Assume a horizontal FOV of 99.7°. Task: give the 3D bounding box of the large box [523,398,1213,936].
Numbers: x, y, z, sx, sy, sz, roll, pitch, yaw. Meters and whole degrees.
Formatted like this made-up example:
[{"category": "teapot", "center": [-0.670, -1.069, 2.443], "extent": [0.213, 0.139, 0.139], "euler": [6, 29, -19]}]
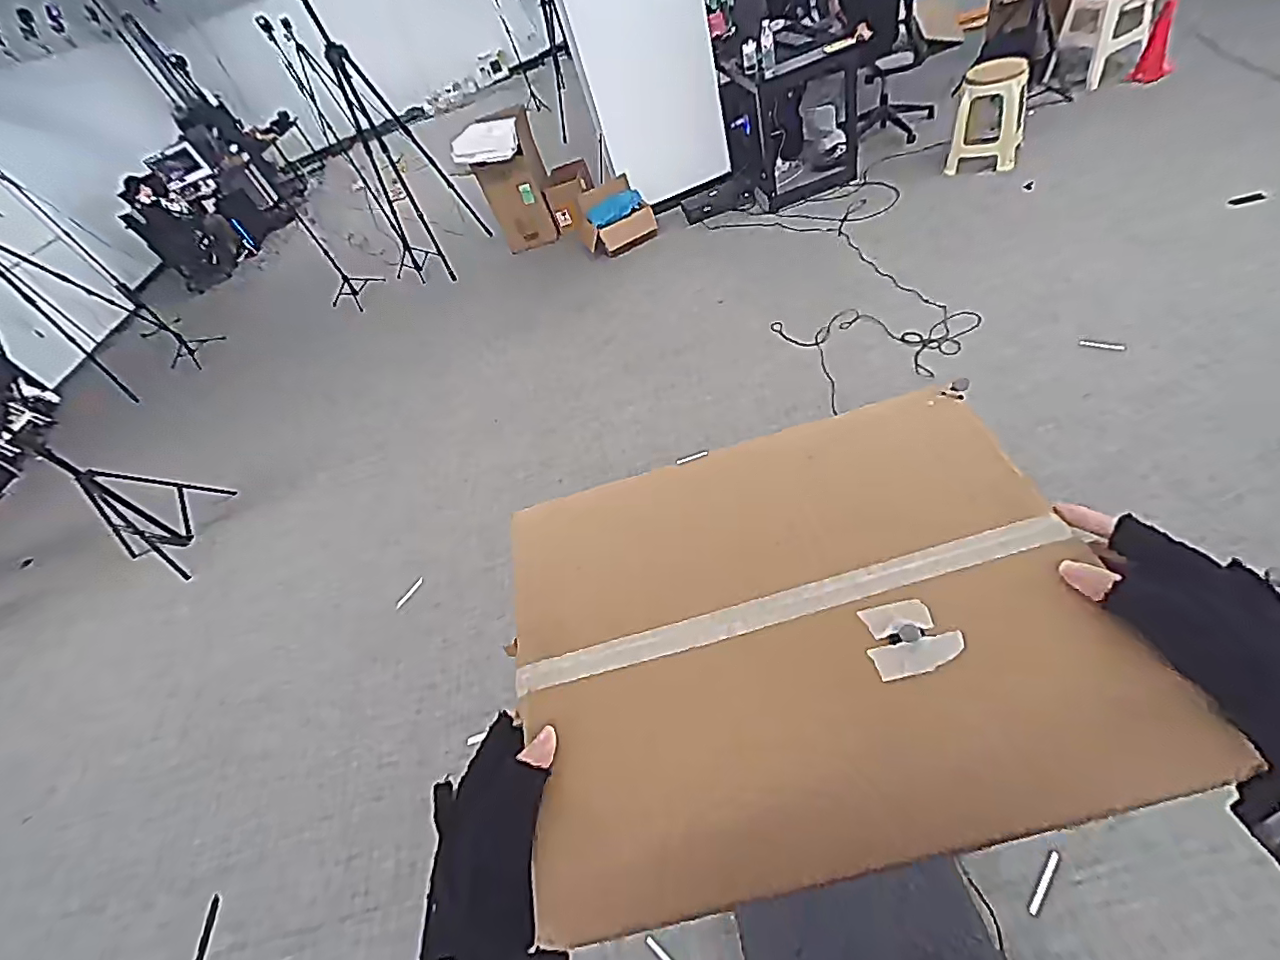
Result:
[{"category": "large box", "center": [0.140, 0.185, 0.522], "extent": [0.408, 0.320, 0.320], "euler": [-17, 52, 3]}]
